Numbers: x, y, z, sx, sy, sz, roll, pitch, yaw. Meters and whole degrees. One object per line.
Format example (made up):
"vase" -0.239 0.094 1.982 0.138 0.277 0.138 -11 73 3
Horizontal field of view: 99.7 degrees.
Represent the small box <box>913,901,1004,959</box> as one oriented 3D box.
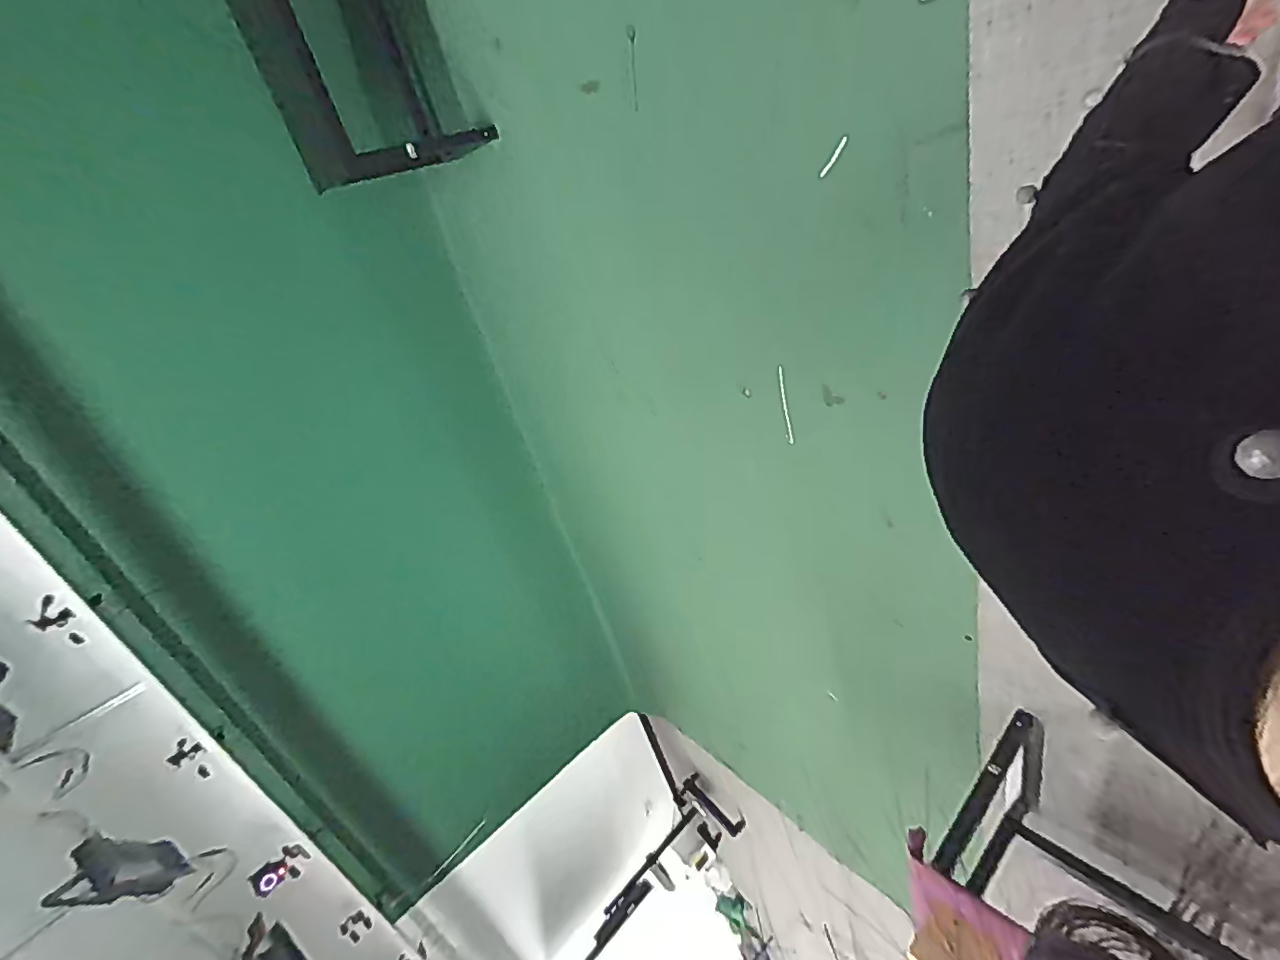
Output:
"small box" 0.868 1.314 1.478 0.168 0.176 0.179 22 134 47
